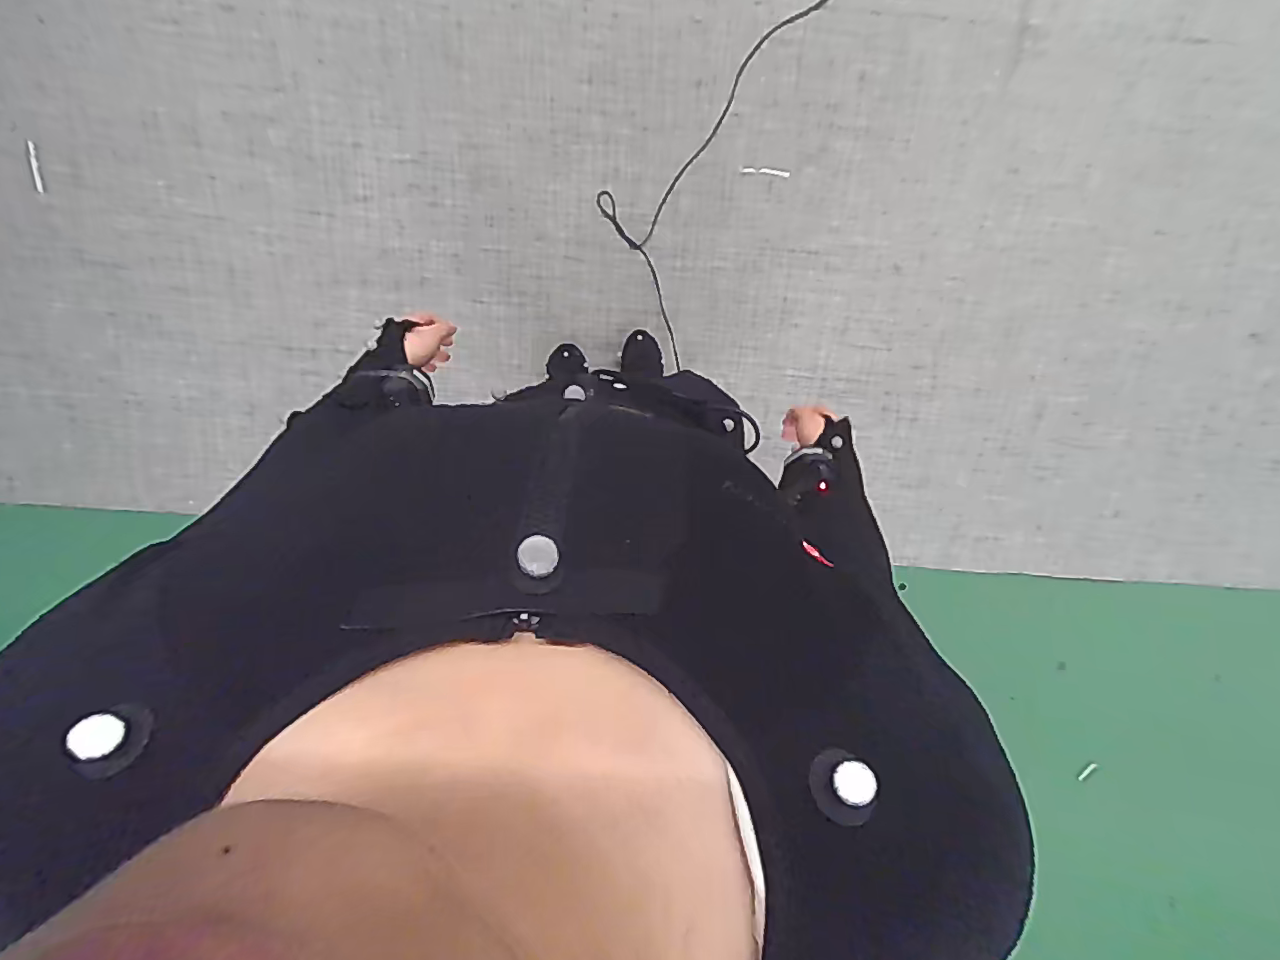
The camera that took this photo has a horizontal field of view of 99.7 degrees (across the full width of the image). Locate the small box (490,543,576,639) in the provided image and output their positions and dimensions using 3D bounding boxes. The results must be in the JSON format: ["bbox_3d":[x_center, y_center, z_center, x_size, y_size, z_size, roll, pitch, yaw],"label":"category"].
[{"bbox_3d":[-0.247,0.256,1.281,0.179,0.176,0.168,4,104,-2],"label":"small box"}]
